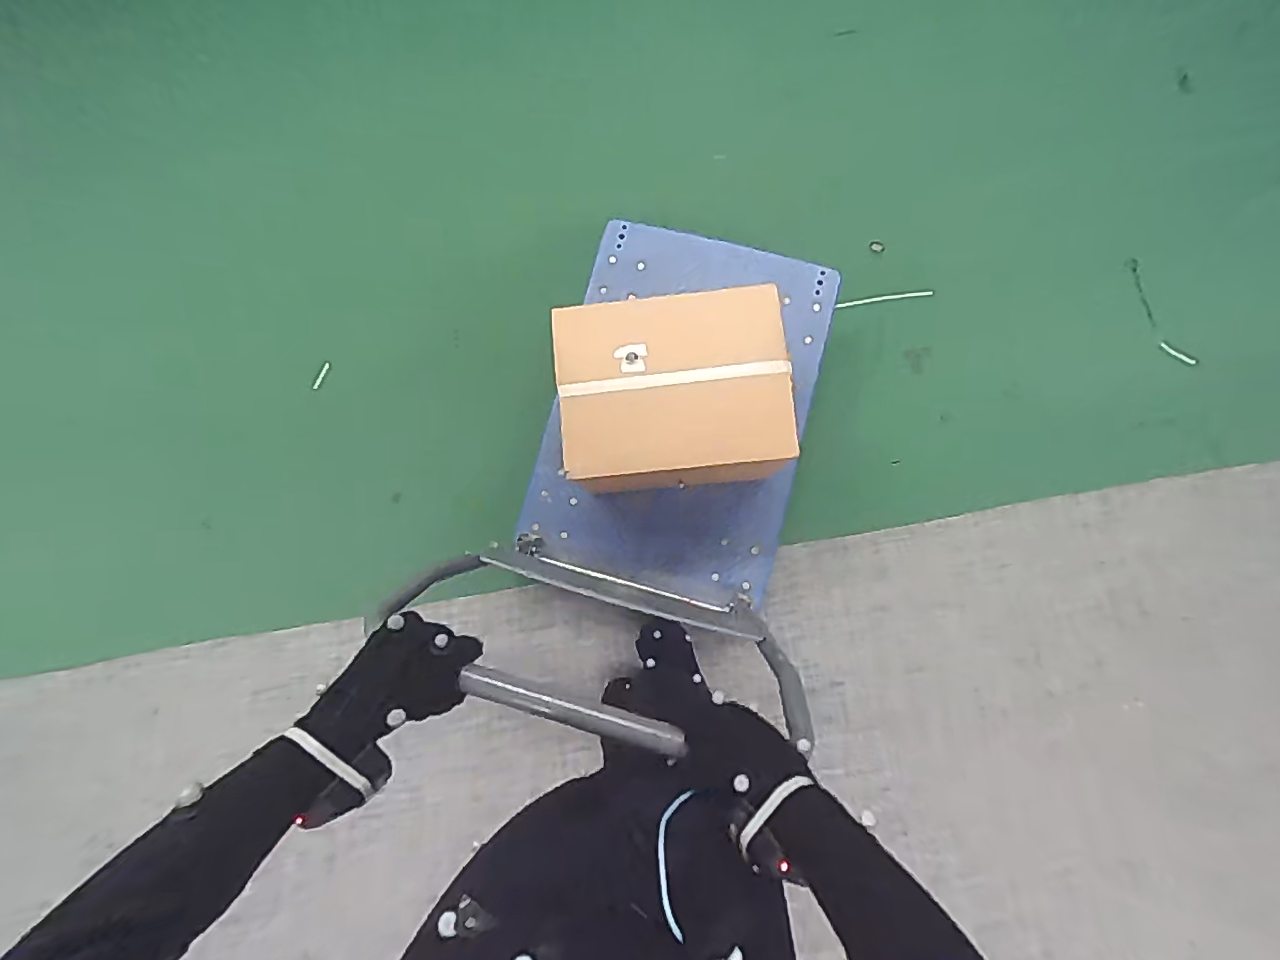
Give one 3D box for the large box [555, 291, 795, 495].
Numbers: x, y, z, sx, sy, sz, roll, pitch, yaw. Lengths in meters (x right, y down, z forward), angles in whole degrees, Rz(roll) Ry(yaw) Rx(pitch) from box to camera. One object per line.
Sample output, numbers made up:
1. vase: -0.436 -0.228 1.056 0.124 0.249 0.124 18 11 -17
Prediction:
1. large box: 0.068 -0.150 1.104 0.408 0.320 0.320 -6 83 3
